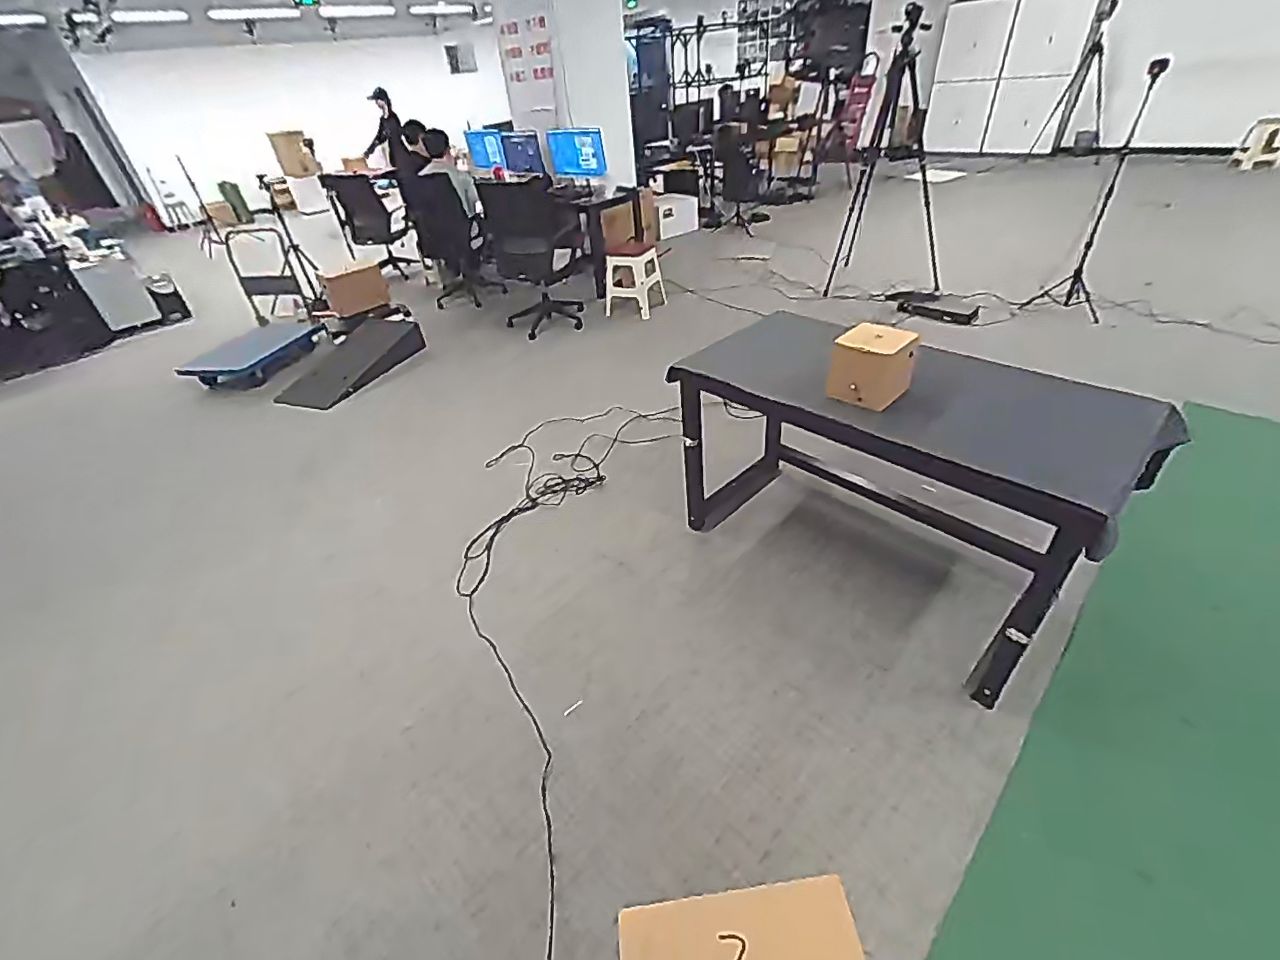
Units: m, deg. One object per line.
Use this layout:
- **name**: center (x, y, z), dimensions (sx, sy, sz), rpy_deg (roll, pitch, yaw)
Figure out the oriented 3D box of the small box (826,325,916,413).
- **small box**: center (0.644, -0.314, 1.524), dimensions (0.179, 0.176, 0.168), rpy_deg (-33, 44, -32)
